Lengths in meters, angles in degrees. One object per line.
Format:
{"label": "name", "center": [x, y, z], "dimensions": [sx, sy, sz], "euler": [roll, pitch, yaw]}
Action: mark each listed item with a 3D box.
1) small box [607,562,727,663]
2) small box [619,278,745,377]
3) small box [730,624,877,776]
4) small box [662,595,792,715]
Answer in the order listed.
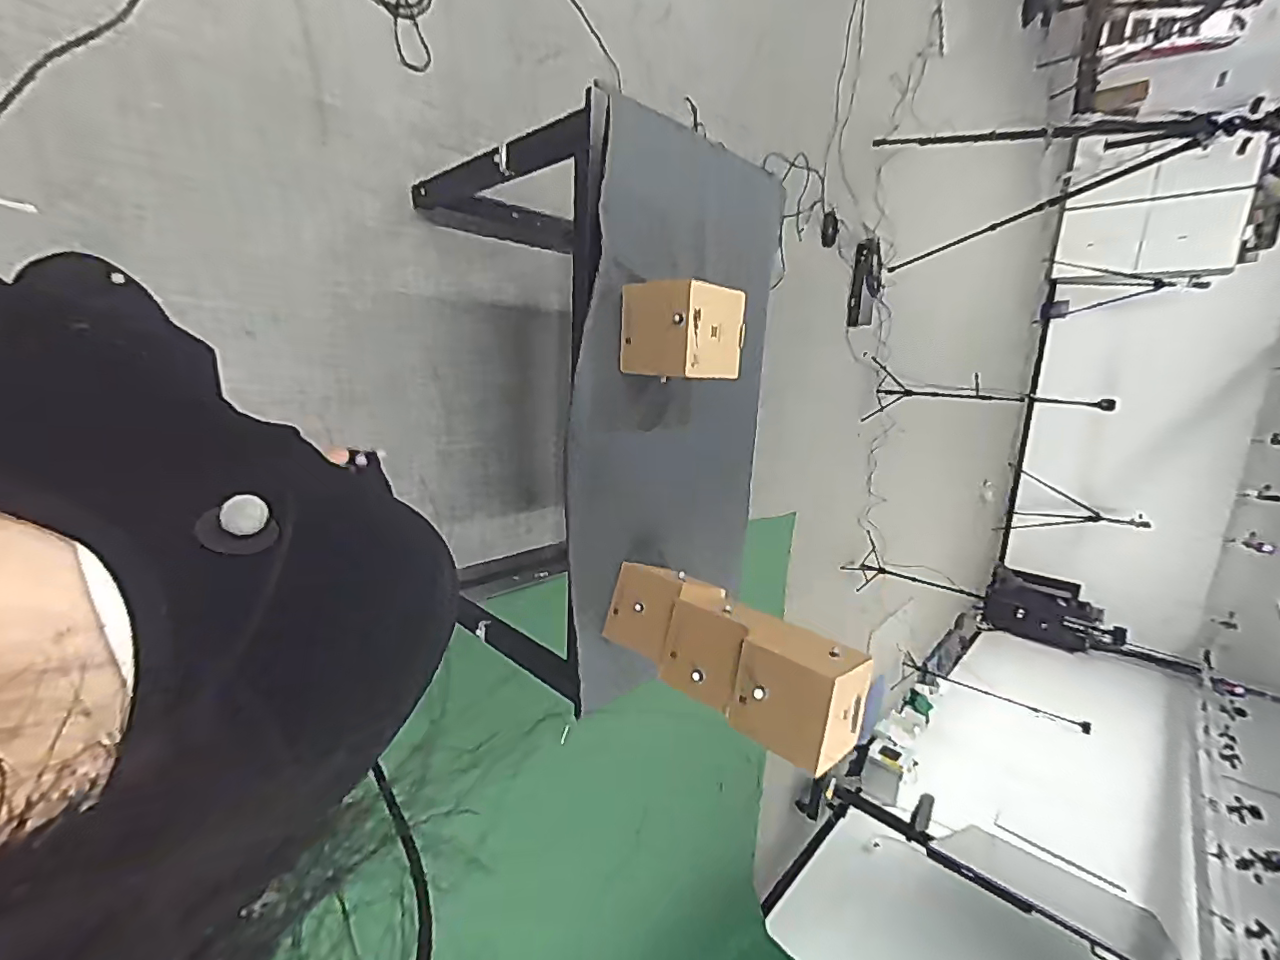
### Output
{"label": "small box", "center": [0.056, 0.282, 1.159], "dimensions": [0.179, 0.176, 0.168], "euler": [20, 85, -50]}
{"label": "small box", "center": [0.080, -0.290, 1.048], "dimensions": [0.179, 0.176, 0.168], "euler": [-11, 107, -47]}
{"label": "small box", "center": [0.282, 0.364, 0.936], "dimensions": [0.179, 0.176, 0.168], "euler": [3, 98, -48]}
{"label": "small box", "center": [0.166, 0.328, 1.048], "dimensions": [0.179, 0.176, 0.168], "euler": [12, 92, -50]}
